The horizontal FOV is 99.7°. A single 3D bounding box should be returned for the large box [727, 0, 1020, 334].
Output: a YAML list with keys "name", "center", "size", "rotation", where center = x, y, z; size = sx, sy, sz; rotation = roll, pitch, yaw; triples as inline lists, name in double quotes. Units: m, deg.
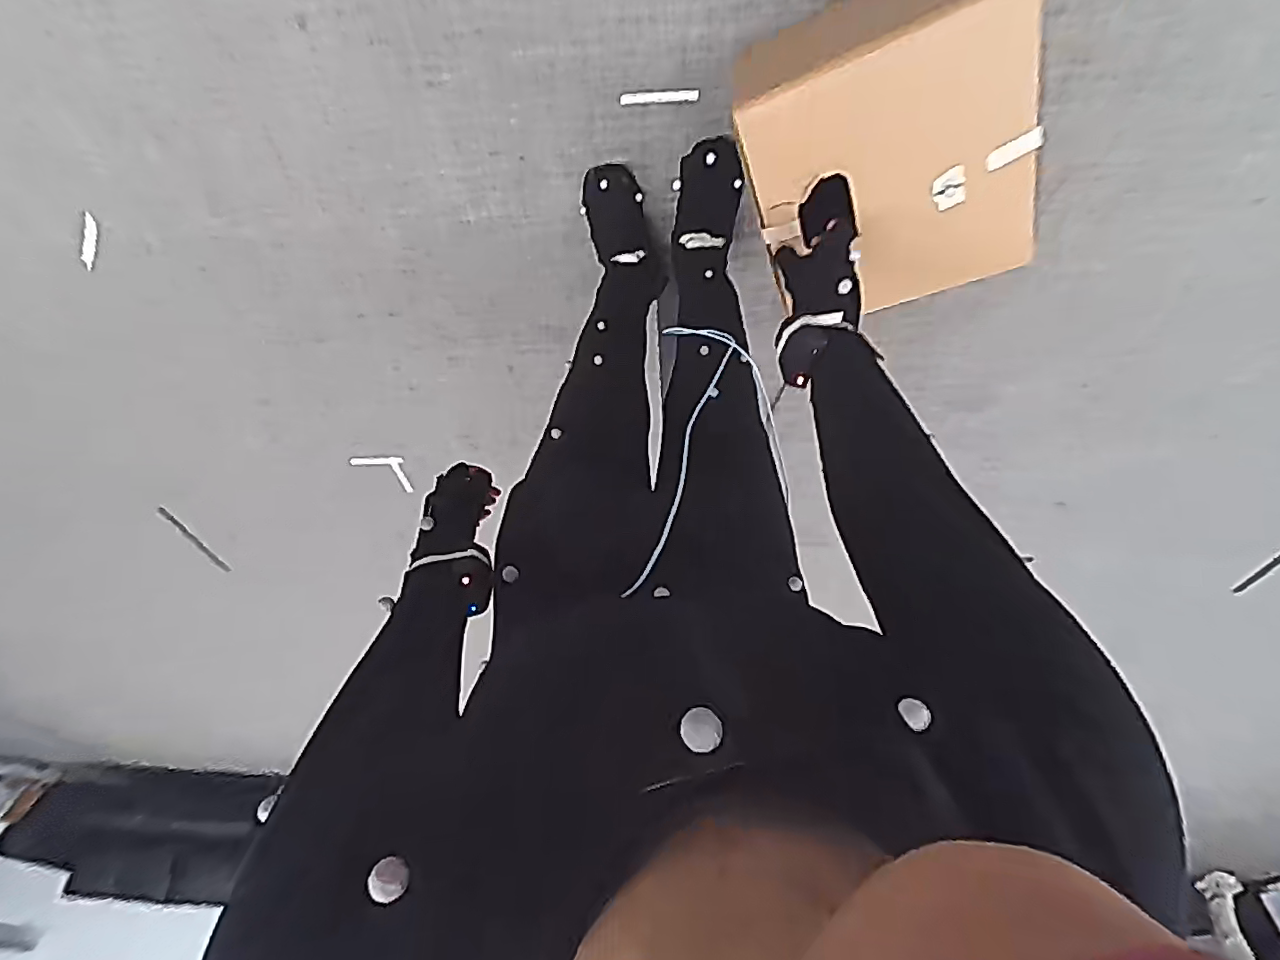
- name: "large box"
  center: [0.333, -0.490, 0.820]
  size: [0.320, 0.408, 0.320]
  rotation: [-12, 131, 22]
